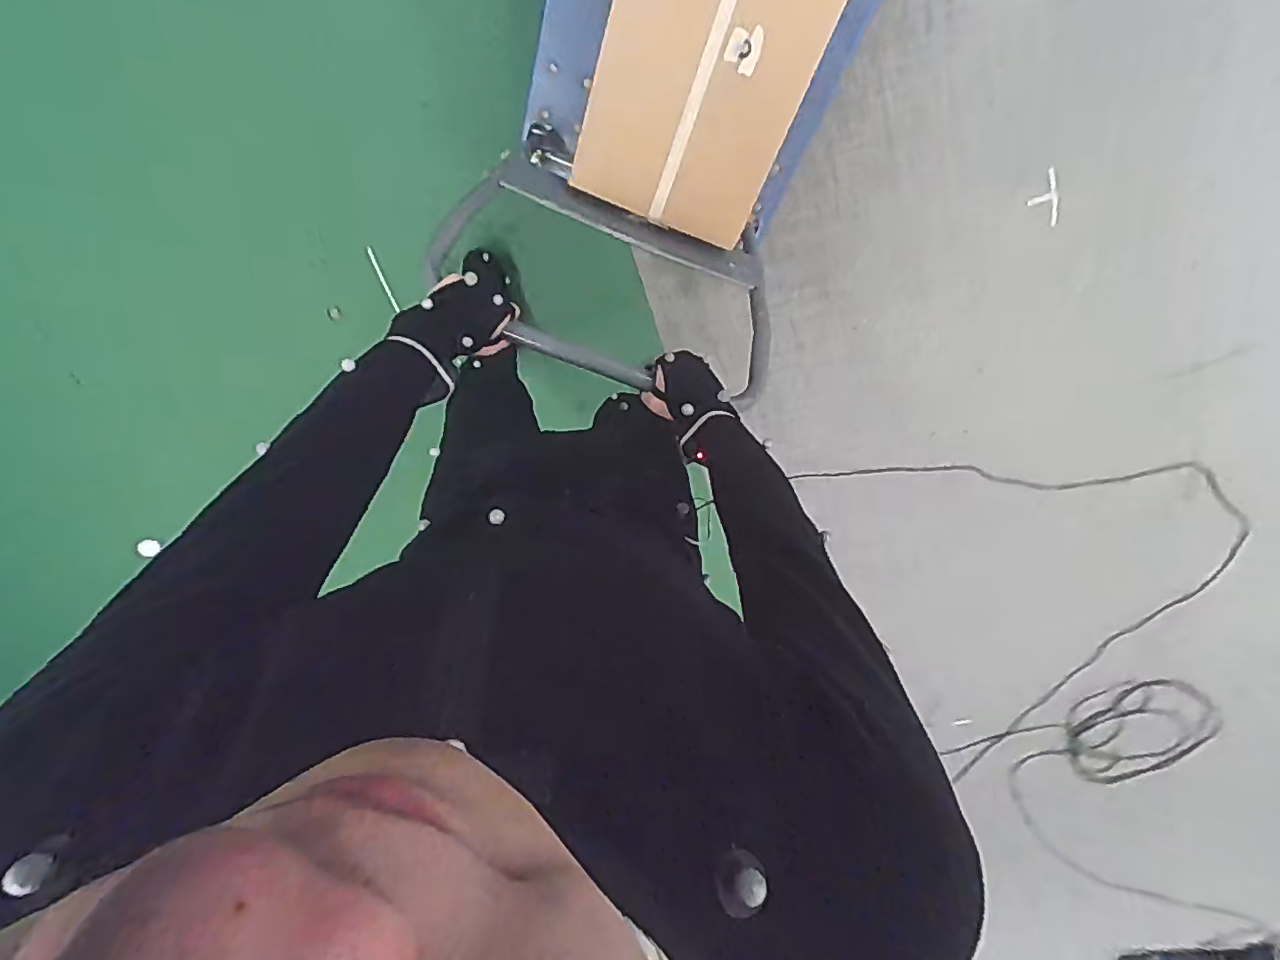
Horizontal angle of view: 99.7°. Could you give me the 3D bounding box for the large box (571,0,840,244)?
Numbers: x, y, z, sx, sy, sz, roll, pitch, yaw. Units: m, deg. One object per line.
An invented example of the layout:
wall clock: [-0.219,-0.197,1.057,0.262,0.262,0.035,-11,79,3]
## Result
large box: [0.099,-0.704,0.950,0.320,0.320,0.408,19,128,-10]
